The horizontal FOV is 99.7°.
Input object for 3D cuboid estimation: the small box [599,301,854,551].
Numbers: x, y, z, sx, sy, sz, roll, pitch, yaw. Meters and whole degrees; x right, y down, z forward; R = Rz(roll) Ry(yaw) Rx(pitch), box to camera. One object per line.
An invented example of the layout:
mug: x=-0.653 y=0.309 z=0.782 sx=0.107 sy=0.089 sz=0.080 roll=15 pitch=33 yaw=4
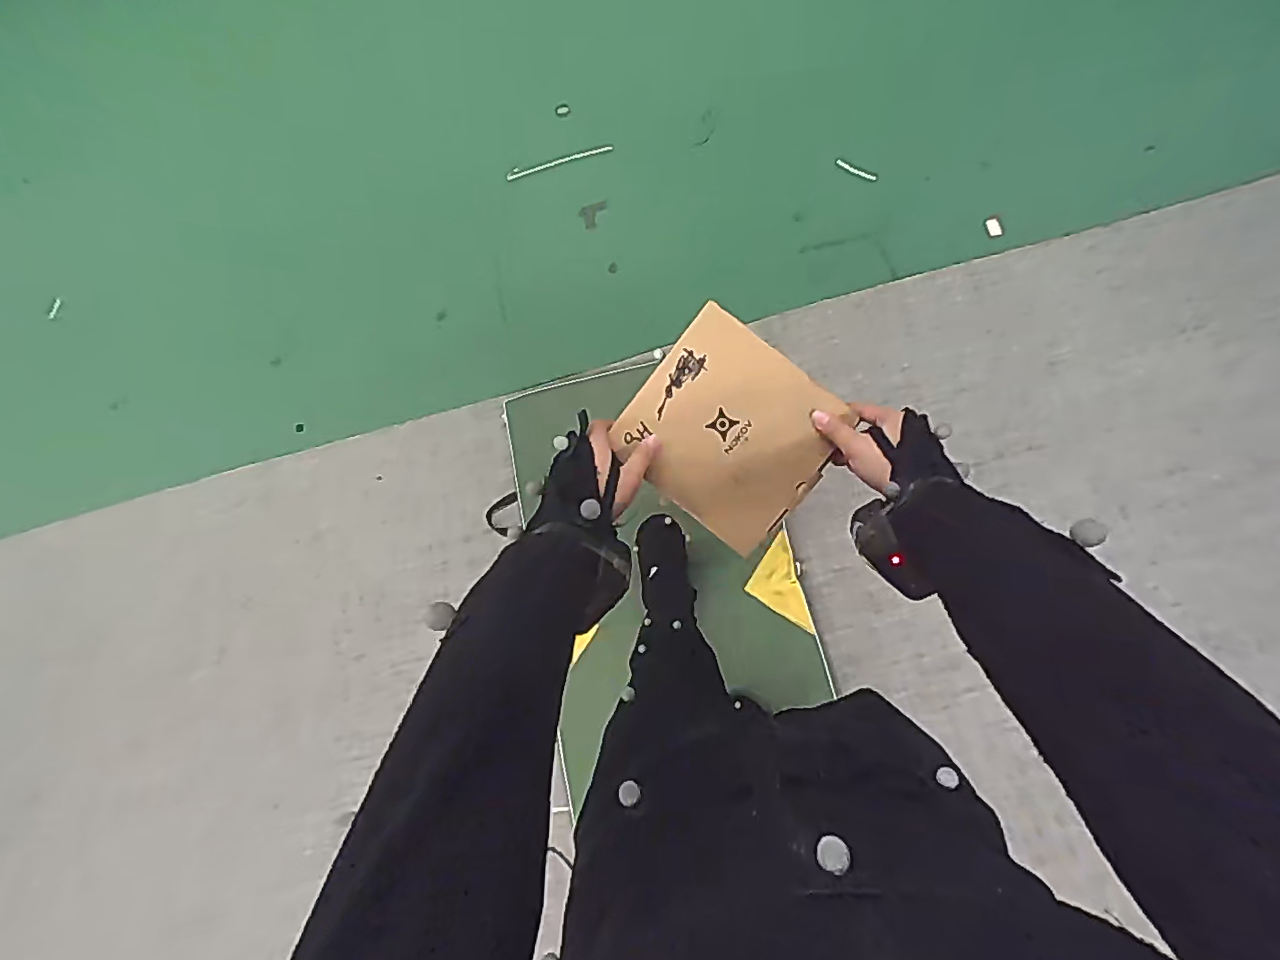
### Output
small box: x=0.081 y=-0.054 z=0.572 sx=0.179 sy=0.176 sz=0.168 roll=39 pitch=93 yaw=-1
